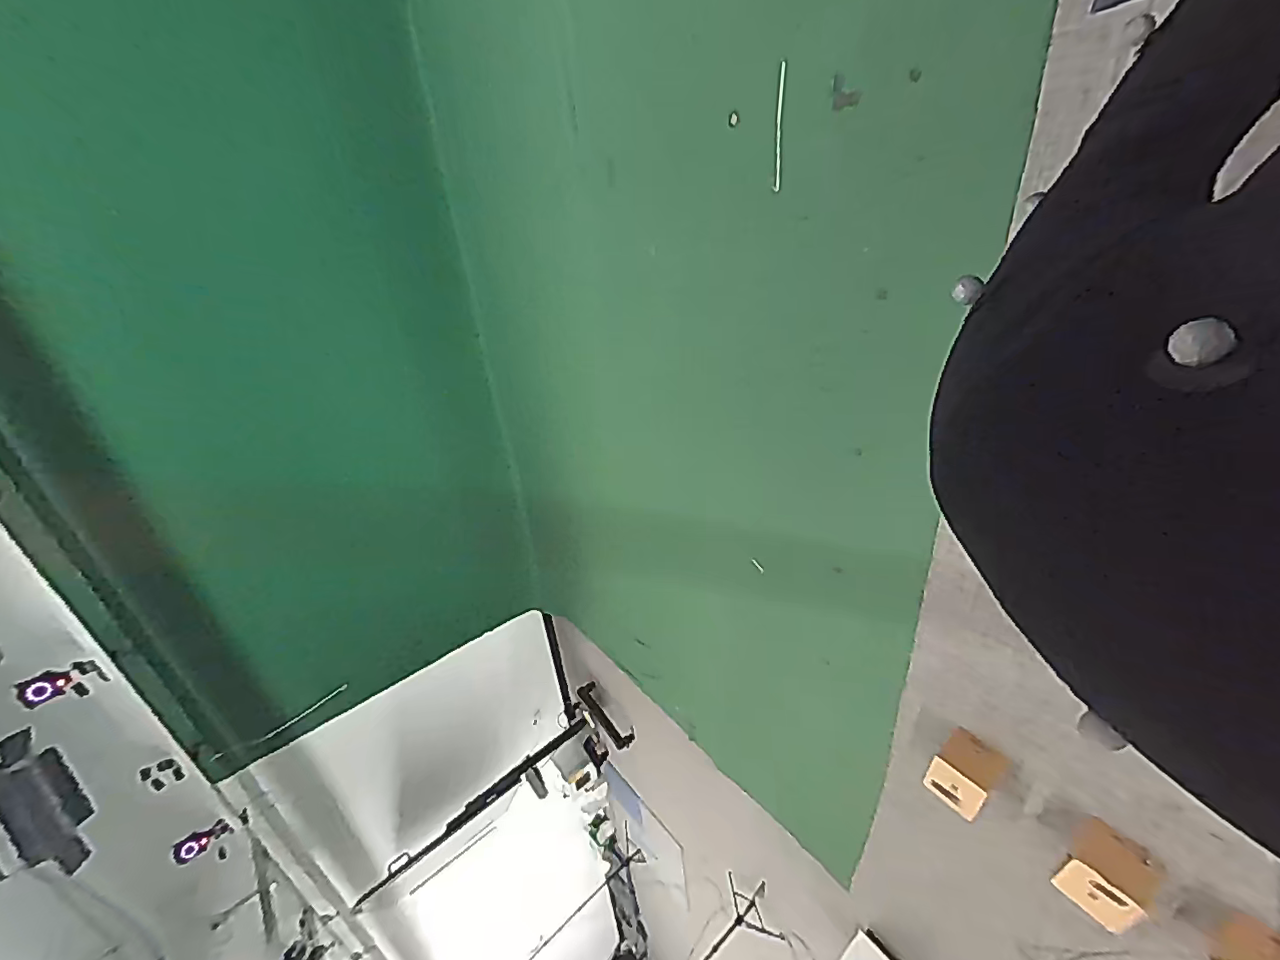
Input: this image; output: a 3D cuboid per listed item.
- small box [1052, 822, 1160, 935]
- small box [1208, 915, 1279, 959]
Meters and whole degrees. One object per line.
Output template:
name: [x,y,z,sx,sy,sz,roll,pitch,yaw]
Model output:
small box: [1.329,1.125,1.539,0.168,0.176,0.179,35,139,40]
small box: [1.527,1.229,1.318,0.168,0.176,0.179,29,133,44]
